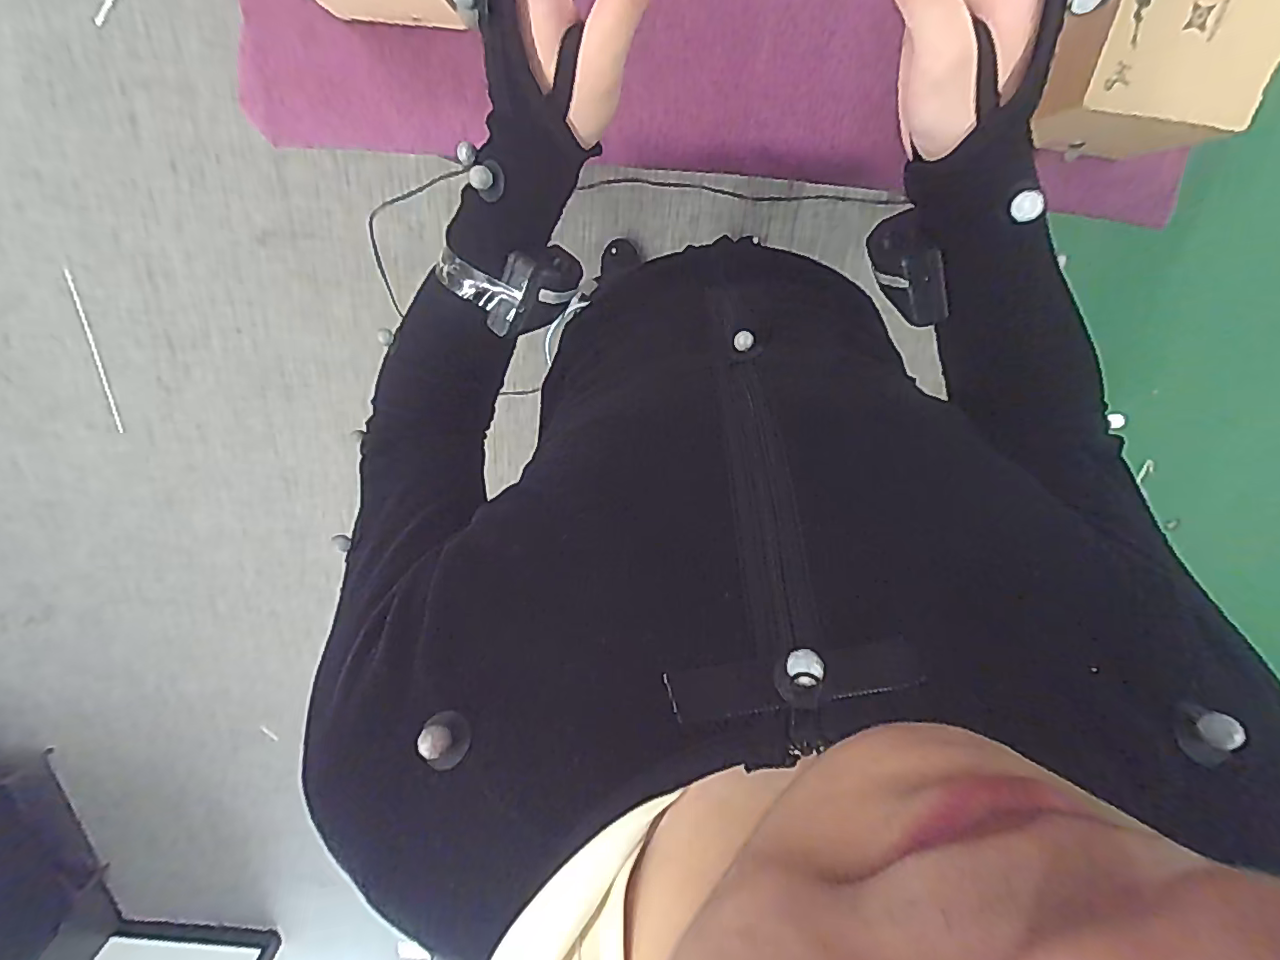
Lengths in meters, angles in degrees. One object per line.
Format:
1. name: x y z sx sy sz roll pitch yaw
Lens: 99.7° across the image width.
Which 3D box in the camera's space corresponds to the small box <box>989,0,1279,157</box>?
1. small box: 0.541 -0.471 0.596 0.179 0.176 0.168 8 112 -1
